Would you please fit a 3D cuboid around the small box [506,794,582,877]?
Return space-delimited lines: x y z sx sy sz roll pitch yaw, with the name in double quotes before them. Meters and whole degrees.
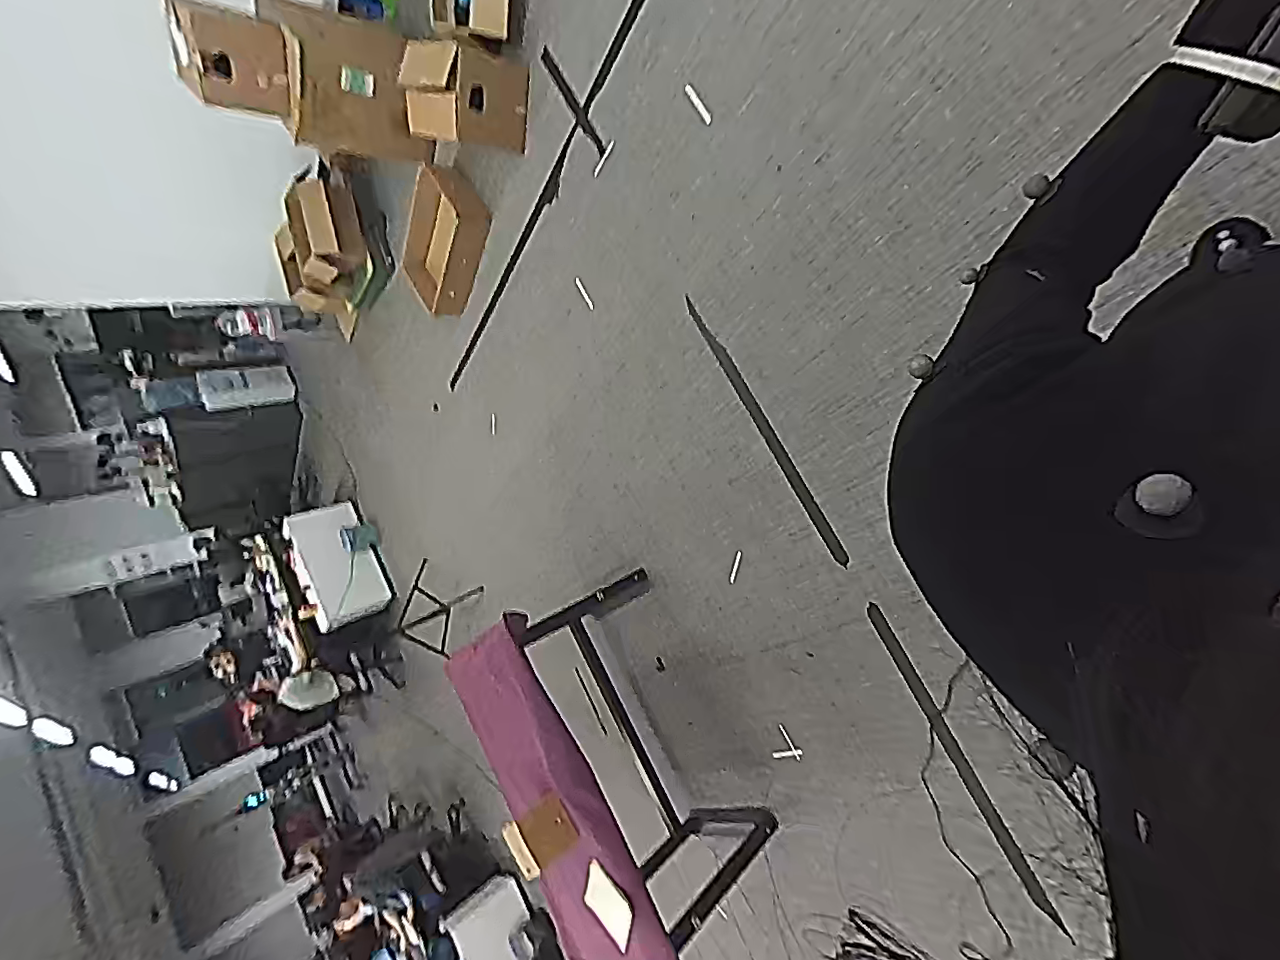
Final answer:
"small box" -0.330 1.216 1.865 0.179 0.176 0.168 54 136 20
